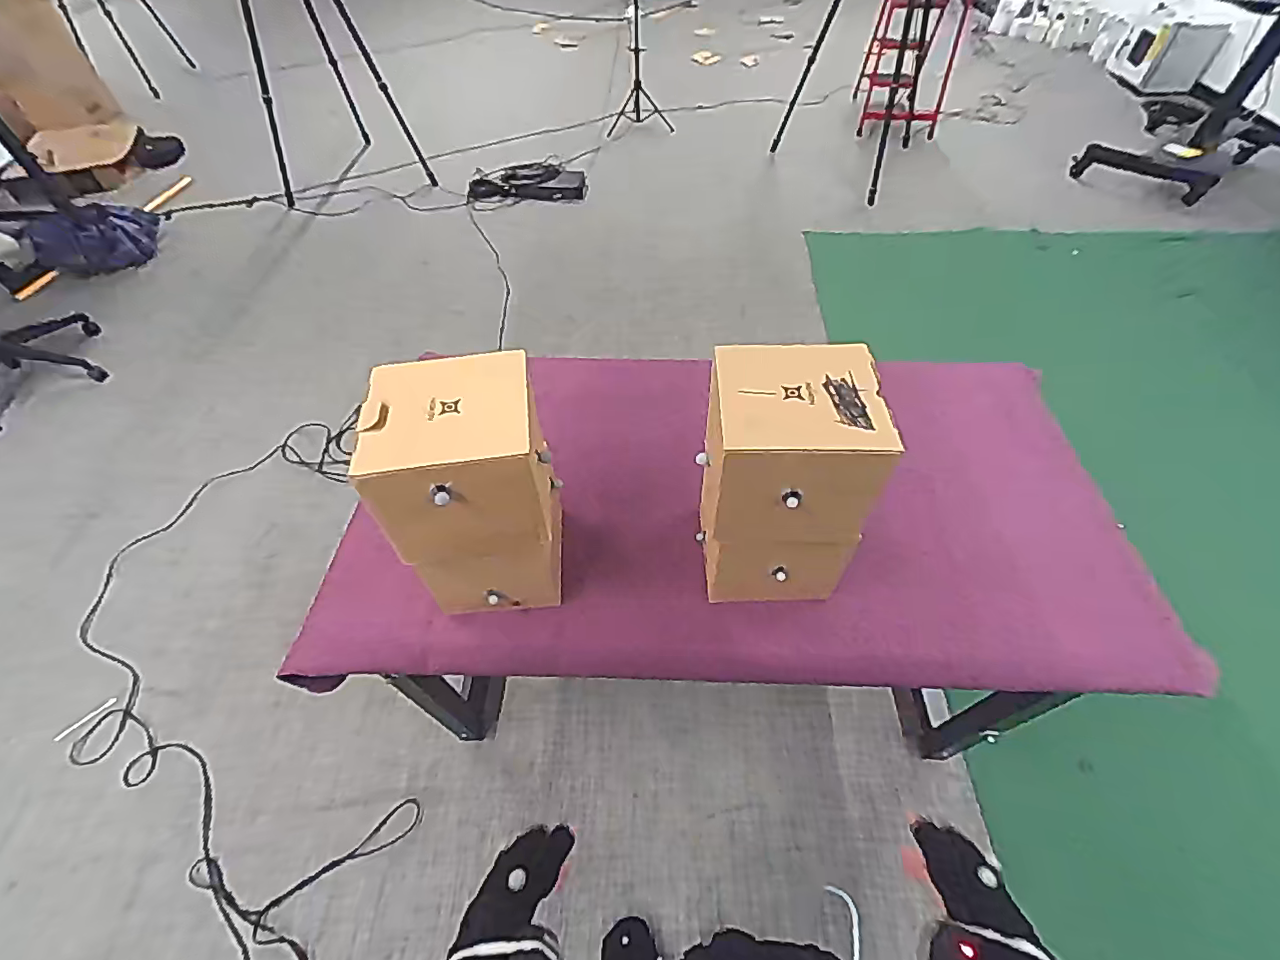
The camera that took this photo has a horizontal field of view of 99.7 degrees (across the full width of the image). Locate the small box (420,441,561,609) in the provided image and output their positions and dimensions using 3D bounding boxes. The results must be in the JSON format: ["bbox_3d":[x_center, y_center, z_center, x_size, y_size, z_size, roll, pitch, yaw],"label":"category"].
[{"bbox_3d":[-0.206,0.065,0.770,0.168,0.176,0.179,-4,52,-2],"label":"small box"}]

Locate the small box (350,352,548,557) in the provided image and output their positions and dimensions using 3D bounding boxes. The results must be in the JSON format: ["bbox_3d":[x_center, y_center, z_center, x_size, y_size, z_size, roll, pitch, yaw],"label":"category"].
[{"bbox_3d":[-0.204,-0.026,0.635,0.179,0.176,0.168,-7,52,-5],"label":"small box"}]

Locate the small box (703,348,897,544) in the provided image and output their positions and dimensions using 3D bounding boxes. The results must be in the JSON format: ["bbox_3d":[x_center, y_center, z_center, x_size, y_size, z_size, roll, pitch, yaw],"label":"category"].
[{"bbox_3d":[0.170,-0.036,0.640,0.179,0.176,0.168,1,52,3],"label":"small box"}]
